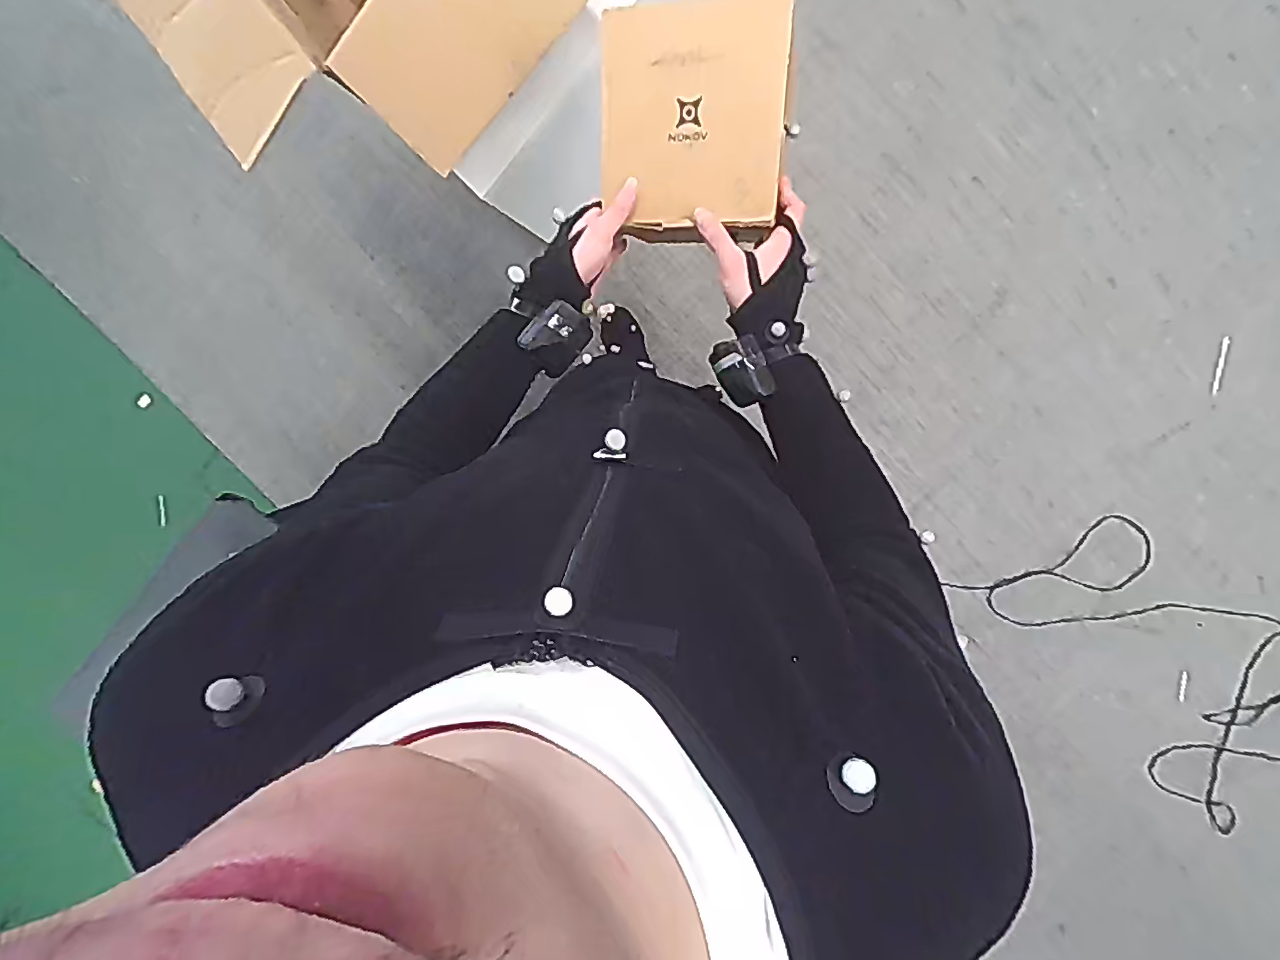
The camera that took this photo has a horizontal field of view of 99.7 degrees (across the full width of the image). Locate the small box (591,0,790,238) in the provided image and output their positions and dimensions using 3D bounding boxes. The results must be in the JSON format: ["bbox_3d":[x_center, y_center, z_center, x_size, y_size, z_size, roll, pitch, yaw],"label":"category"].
[{"bbox_3d":[0.057,-0.341,0.537,0.168,0.176,0.179,6,109,14],"label":"small box"}]
